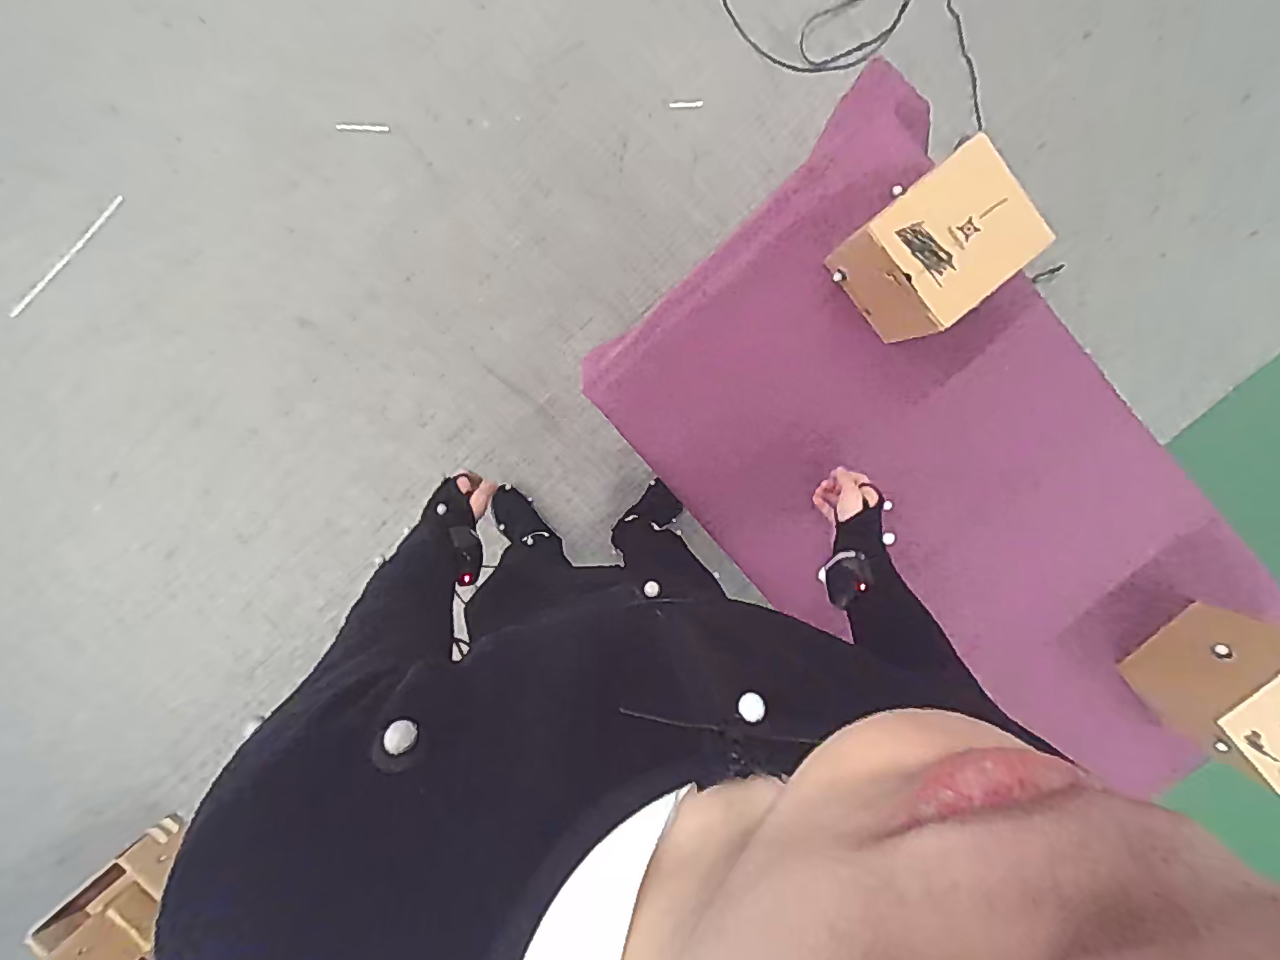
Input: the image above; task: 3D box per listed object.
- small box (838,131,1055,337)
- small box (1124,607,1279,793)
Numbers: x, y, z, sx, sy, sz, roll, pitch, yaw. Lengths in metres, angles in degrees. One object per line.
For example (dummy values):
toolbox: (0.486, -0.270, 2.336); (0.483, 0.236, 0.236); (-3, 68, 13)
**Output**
small box: (0.401, -0.320, 0.749); (0.179, 0.176, 0.168); (-40, 97, 5)
small box: (0.928, 0.327, 0.837); (0.179, 0.176, 0.168); (-43, 95, 4)
